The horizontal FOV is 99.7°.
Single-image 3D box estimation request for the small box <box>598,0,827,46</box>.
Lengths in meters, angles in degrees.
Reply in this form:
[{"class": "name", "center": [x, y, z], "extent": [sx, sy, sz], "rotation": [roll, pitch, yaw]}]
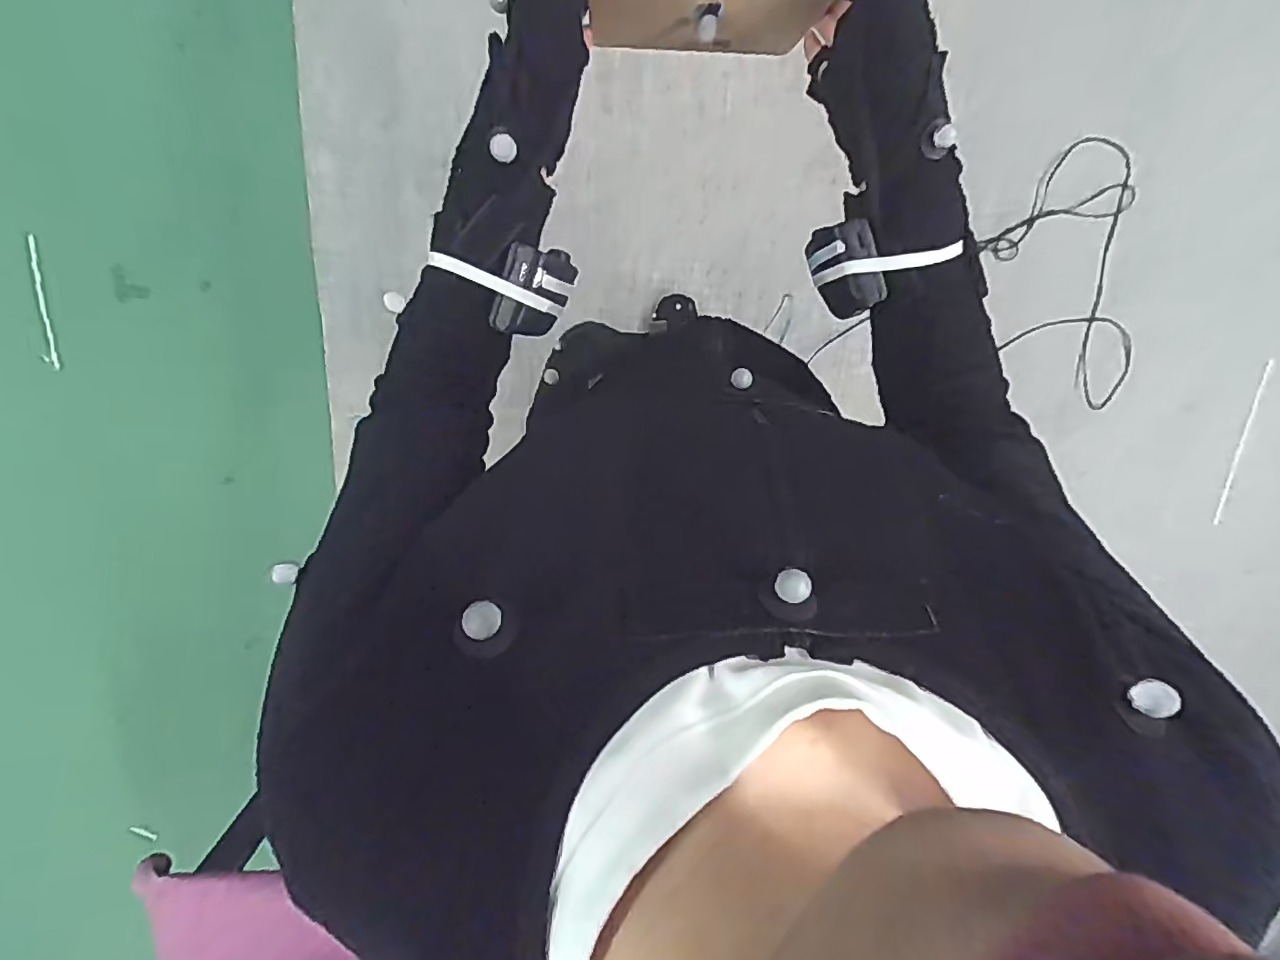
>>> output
[{"class": "small box", "center": [0.051, -0.399, 0.336], "extent": [0.168, 0.176, 0.179], "rotation": [-3, 111, -1]}]
